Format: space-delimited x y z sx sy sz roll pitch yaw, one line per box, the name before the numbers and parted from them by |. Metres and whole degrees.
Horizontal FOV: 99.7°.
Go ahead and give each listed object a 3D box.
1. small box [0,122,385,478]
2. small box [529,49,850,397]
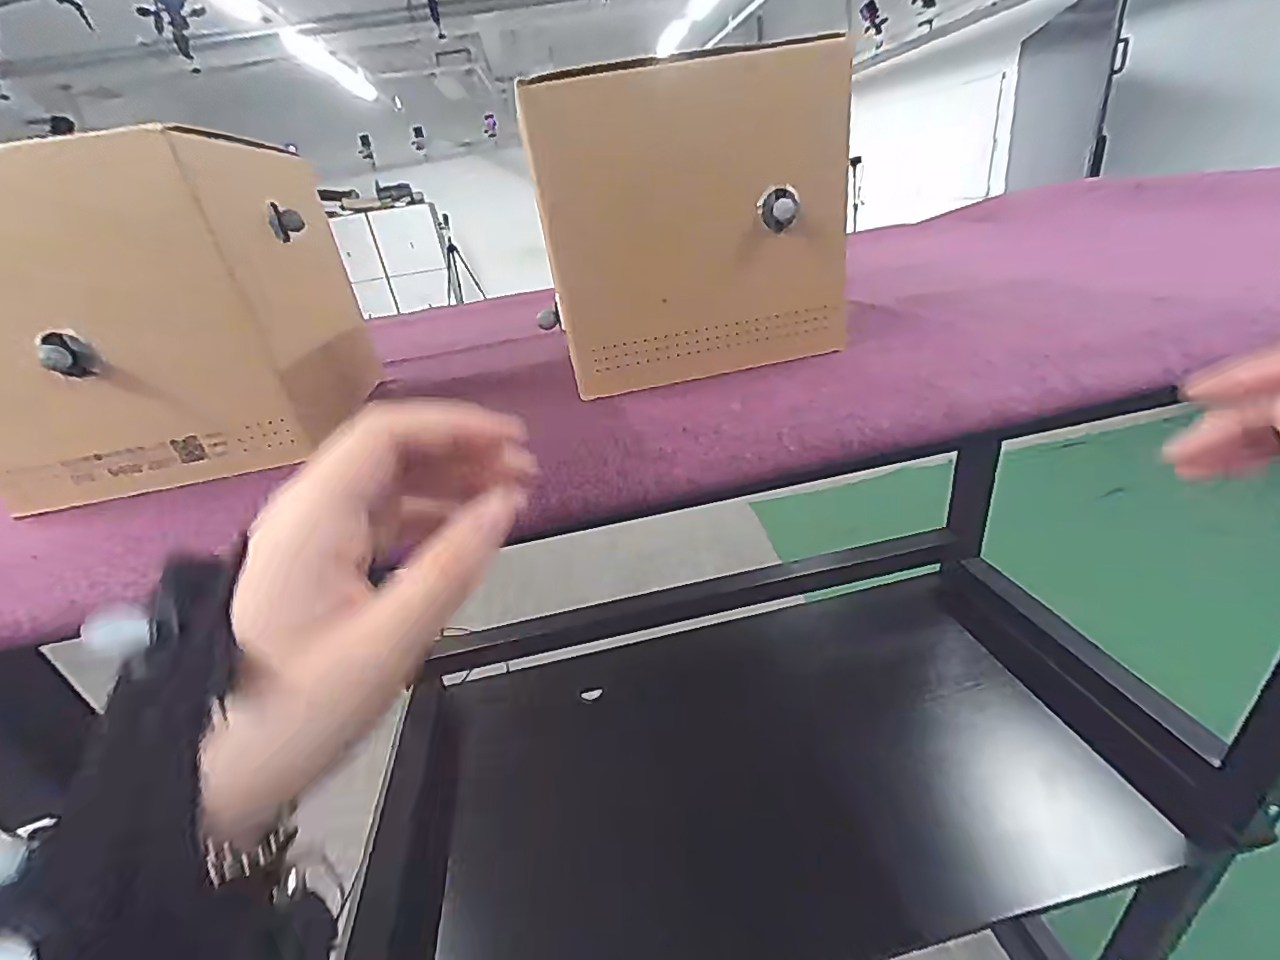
small box | -0.287 -0.111 0.349 0.168 0.176 0.179 -11 28 -6
small box | 0.026 -0.174 0.386 0.179 0.176 0.168 -13 27 -5
